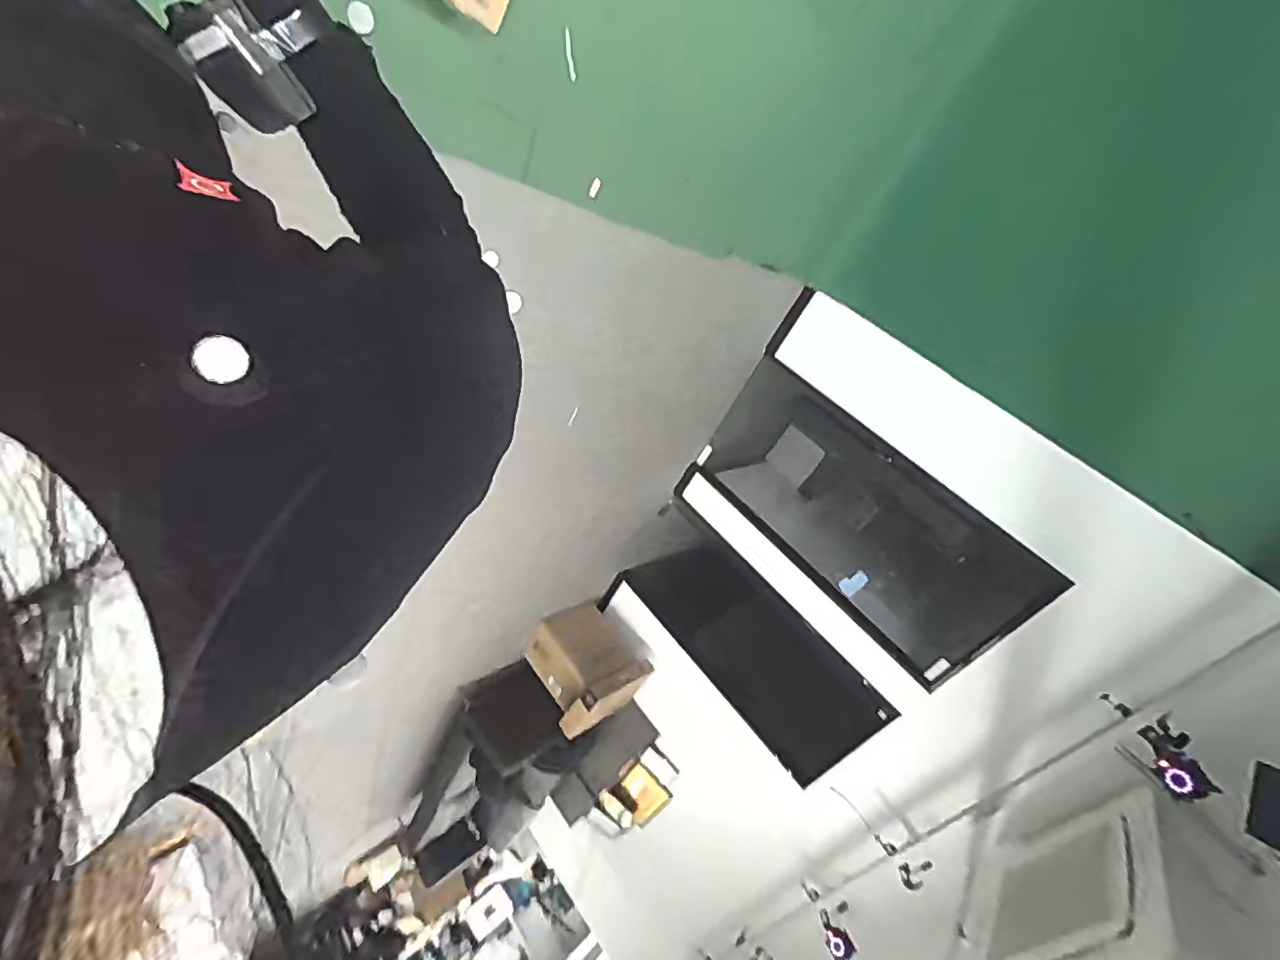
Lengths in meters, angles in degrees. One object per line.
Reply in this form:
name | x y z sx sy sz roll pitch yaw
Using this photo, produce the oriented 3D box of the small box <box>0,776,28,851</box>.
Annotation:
small box | -2.167 1.126 1.779 0.179 0.176 0.168 -14 142 -50
